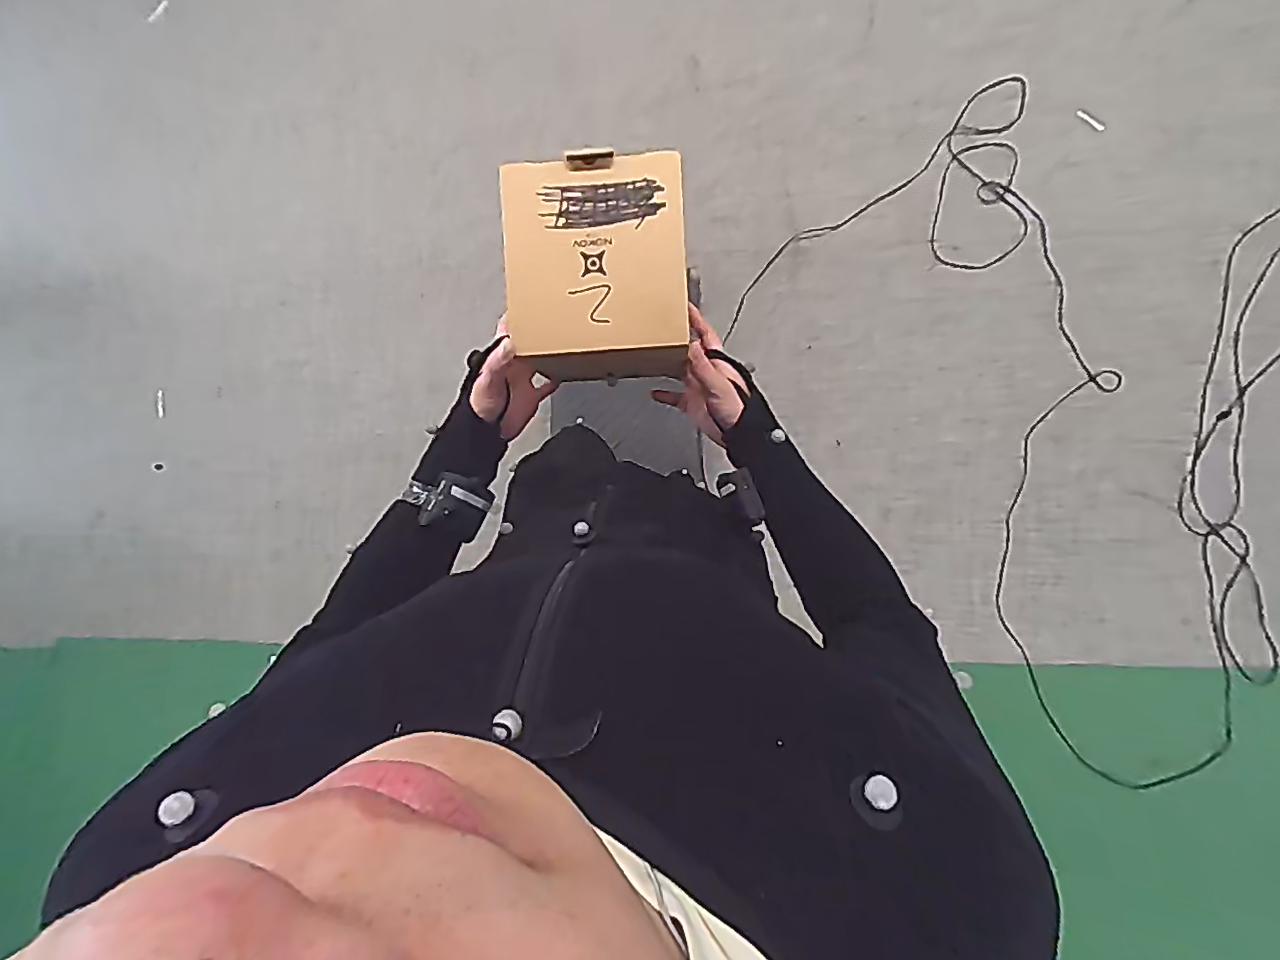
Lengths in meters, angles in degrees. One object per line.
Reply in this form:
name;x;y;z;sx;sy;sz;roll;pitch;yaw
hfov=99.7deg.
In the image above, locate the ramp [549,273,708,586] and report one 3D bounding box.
ramp;-0.044;-0.174;1.707;0.509;0.206;0.991;-3;91;7
